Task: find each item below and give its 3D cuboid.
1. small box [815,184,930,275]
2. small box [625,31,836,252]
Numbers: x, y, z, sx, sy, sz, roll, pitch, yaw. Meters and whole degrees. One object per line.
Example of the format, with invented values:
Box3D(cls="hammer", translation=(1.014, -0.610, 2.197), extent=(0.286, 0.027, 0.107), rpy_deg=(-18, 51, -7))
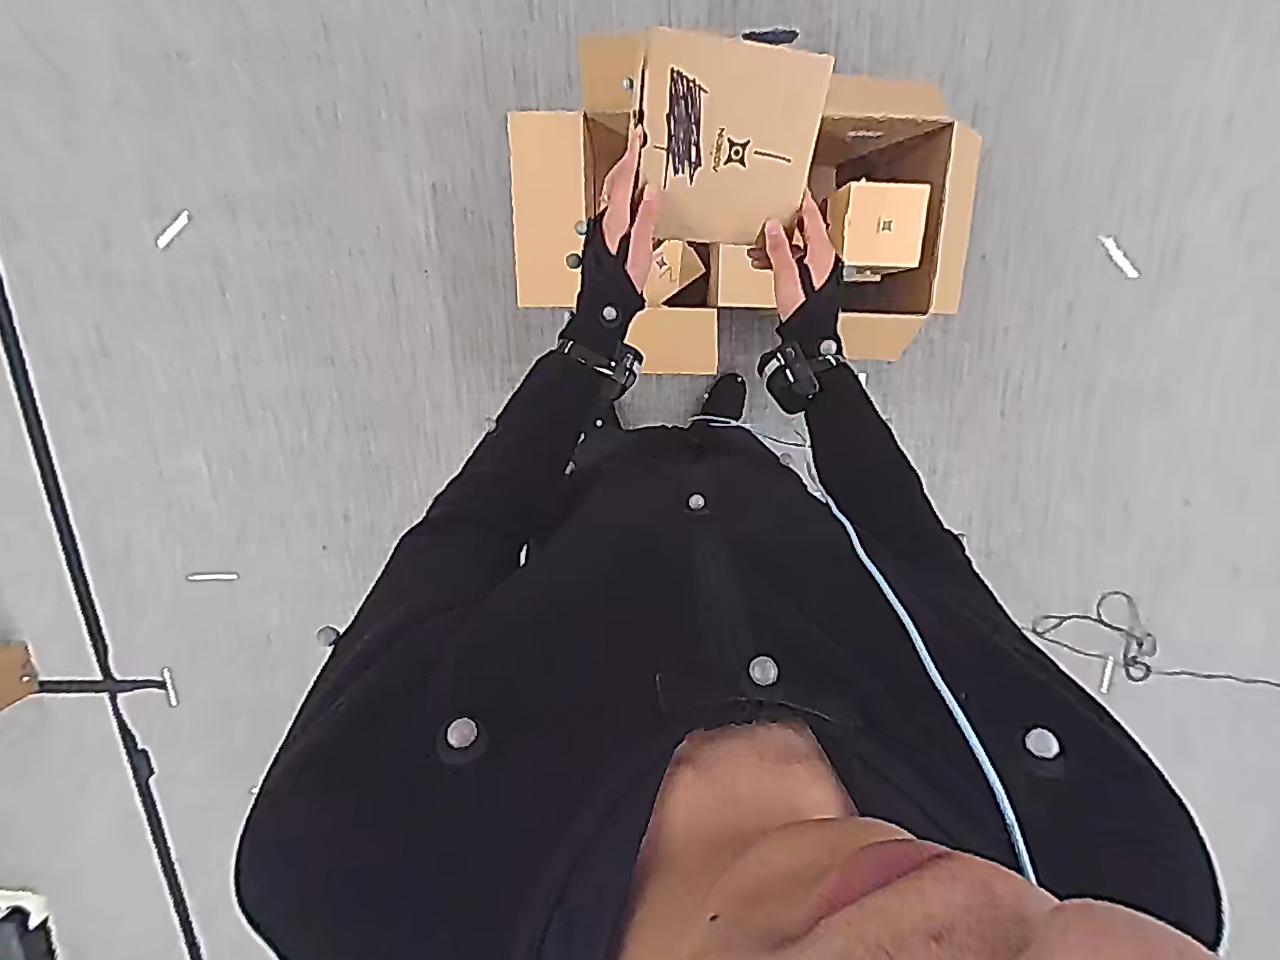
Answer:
Box3D(cls="small box", translation=(0.523, -0.565, 1.238), extent=(0.179, 0.176, 0.168), rpy_deg=(1, 106, -1))
Box3D(cls="small box", translation=(0.078, -0.357, 0.587), extent=(0.179, 0.176, 0.168), rpy_deg=(3, 122, -6))
